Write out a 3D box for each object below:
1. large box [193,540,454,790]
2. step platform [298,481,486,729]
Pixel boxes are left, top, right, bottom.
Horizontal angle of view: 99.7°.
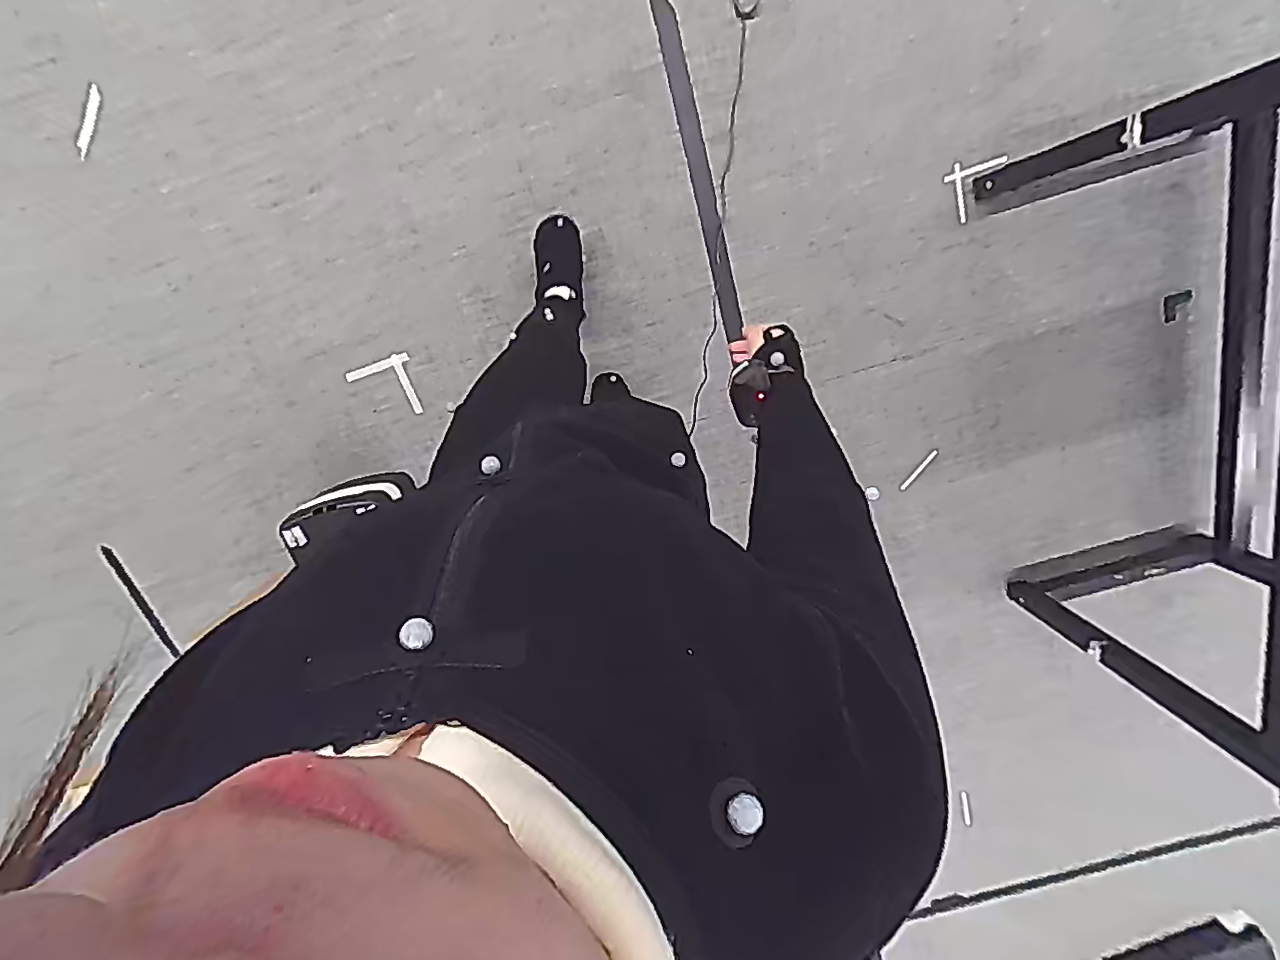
[{"bbox_3d":[-0.682,0.407,1.247,0.320,0.320,0.408,-15,108,4],"label":"large box"},{"bbox_3d":[-0.656,0.358,1.482,0.286,0.204,0.684,-10,108,1],"label":"step platform"}]
